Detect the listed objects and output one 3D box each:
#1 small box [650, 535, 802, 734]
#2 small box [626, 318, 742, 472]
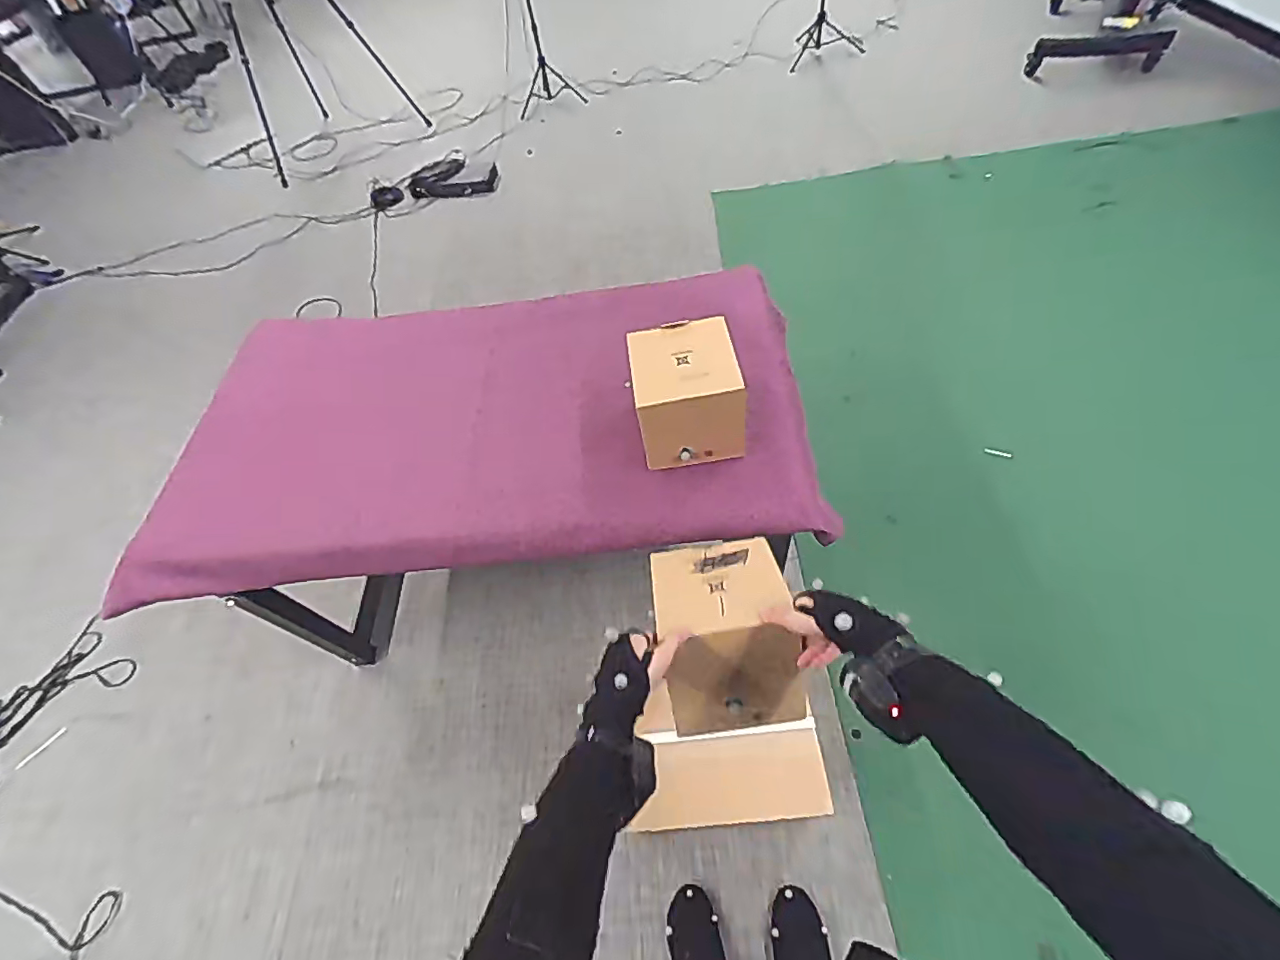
[{"bbox_3d":[0.107,0.196,0.708,0.168,0.176,0.179,-10,25,4],"label":"small box"},{"bbox_3d":[0.073,-0.139,0.906,0.168,0.176,0.179,-9,54,4],"label":"small box"}]
